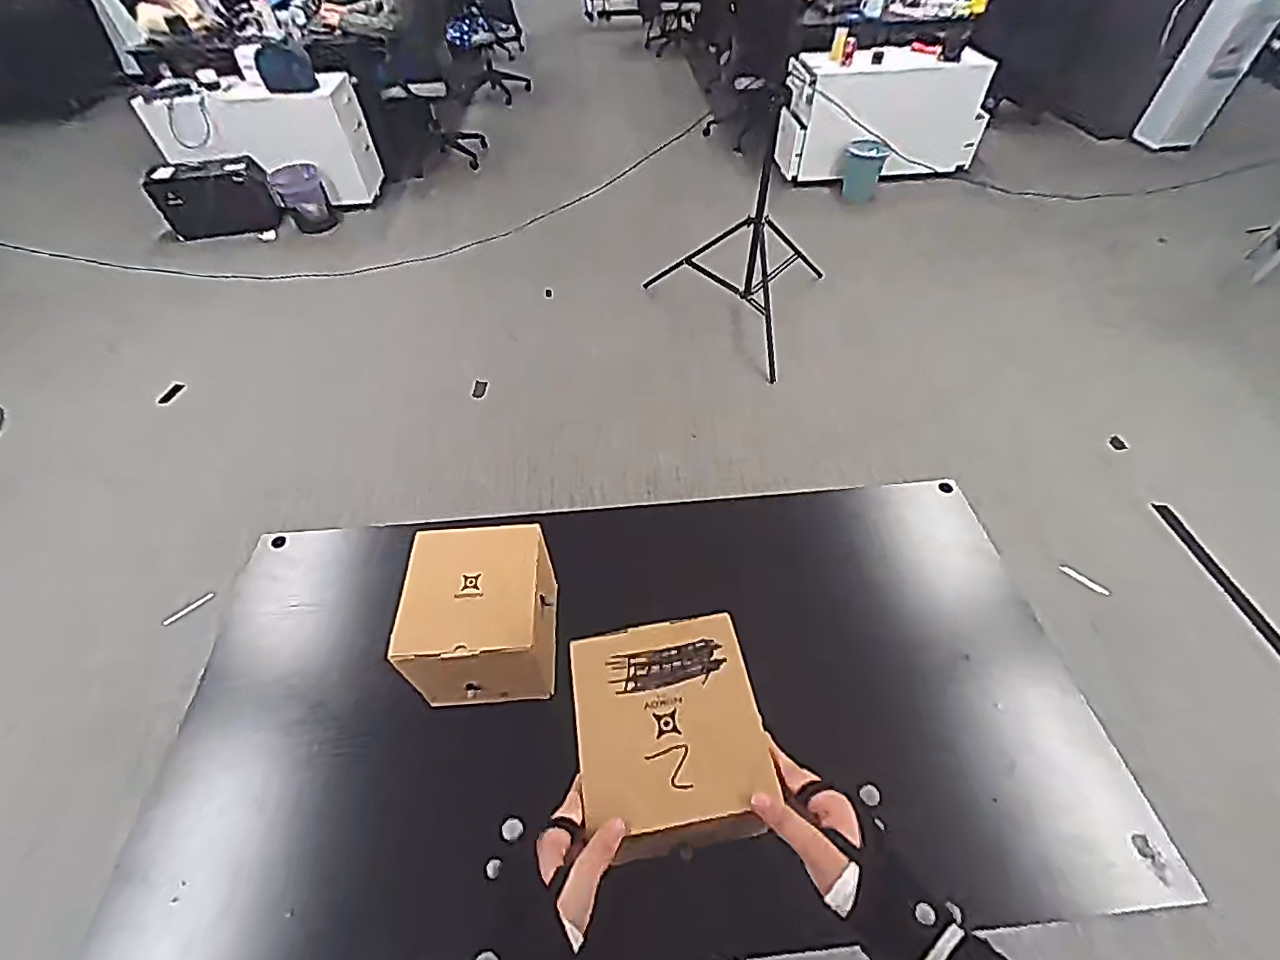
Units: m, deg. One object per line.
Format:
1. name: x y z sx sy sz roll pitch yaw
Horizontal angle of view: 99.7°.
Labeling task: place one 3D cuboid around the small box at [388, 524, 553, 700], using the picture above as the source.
1. small box: -0.212 0.180 0.734 0.168 0.176 0.179 -4 51 -2
